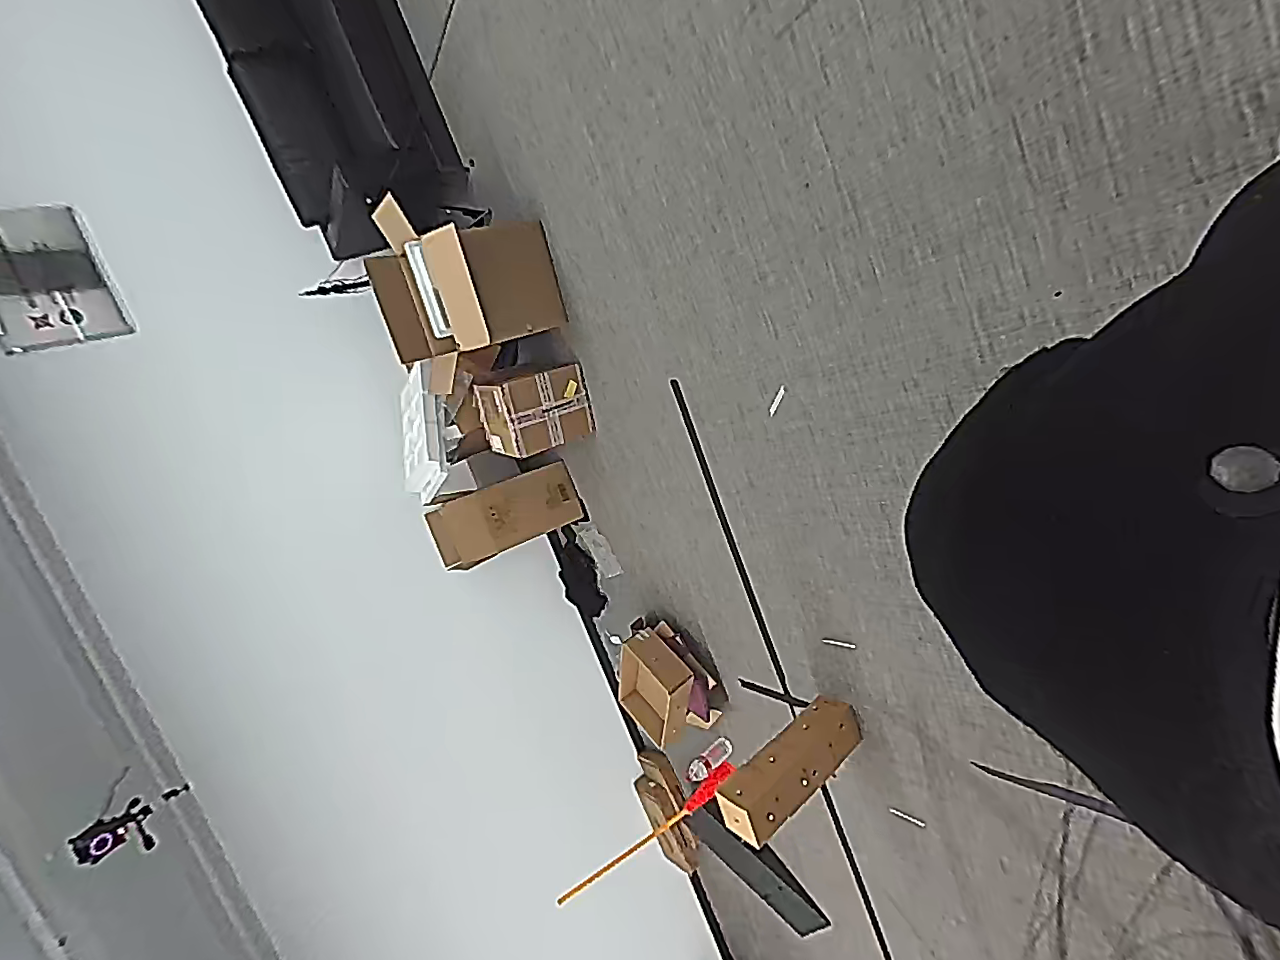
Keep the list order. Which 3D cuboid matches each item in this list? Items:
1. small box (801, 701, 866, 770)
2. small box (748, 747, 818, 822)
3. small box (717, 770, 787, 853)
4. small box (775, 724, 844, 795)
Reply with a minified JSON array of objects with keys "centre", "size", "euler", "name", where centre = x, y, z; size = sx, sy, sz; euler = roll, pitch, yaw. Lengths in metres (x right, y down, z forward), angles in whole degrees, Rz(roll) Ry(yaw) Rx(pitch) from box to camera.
[{"centre":[0.813,1.061,2.266],"size":[0.168,0.176,0.179],"euler":[-10,103,58],"name":"small box"},{"centre":[0.555,1.168,2.093],"size":[0.179,0.176,0.168],"euler":[-13,99,58],"name":"small box"},{"centre":[0.424,1.221,2.009],"size":[0.179,0.176,0.168],"euler":[-4,106,58],"name":"small box"},{"centre":[0.685,1.116,2.179],"size":[0.179,0.176,0.168],"euler":[-13,100,59],"name":"small box"}]
